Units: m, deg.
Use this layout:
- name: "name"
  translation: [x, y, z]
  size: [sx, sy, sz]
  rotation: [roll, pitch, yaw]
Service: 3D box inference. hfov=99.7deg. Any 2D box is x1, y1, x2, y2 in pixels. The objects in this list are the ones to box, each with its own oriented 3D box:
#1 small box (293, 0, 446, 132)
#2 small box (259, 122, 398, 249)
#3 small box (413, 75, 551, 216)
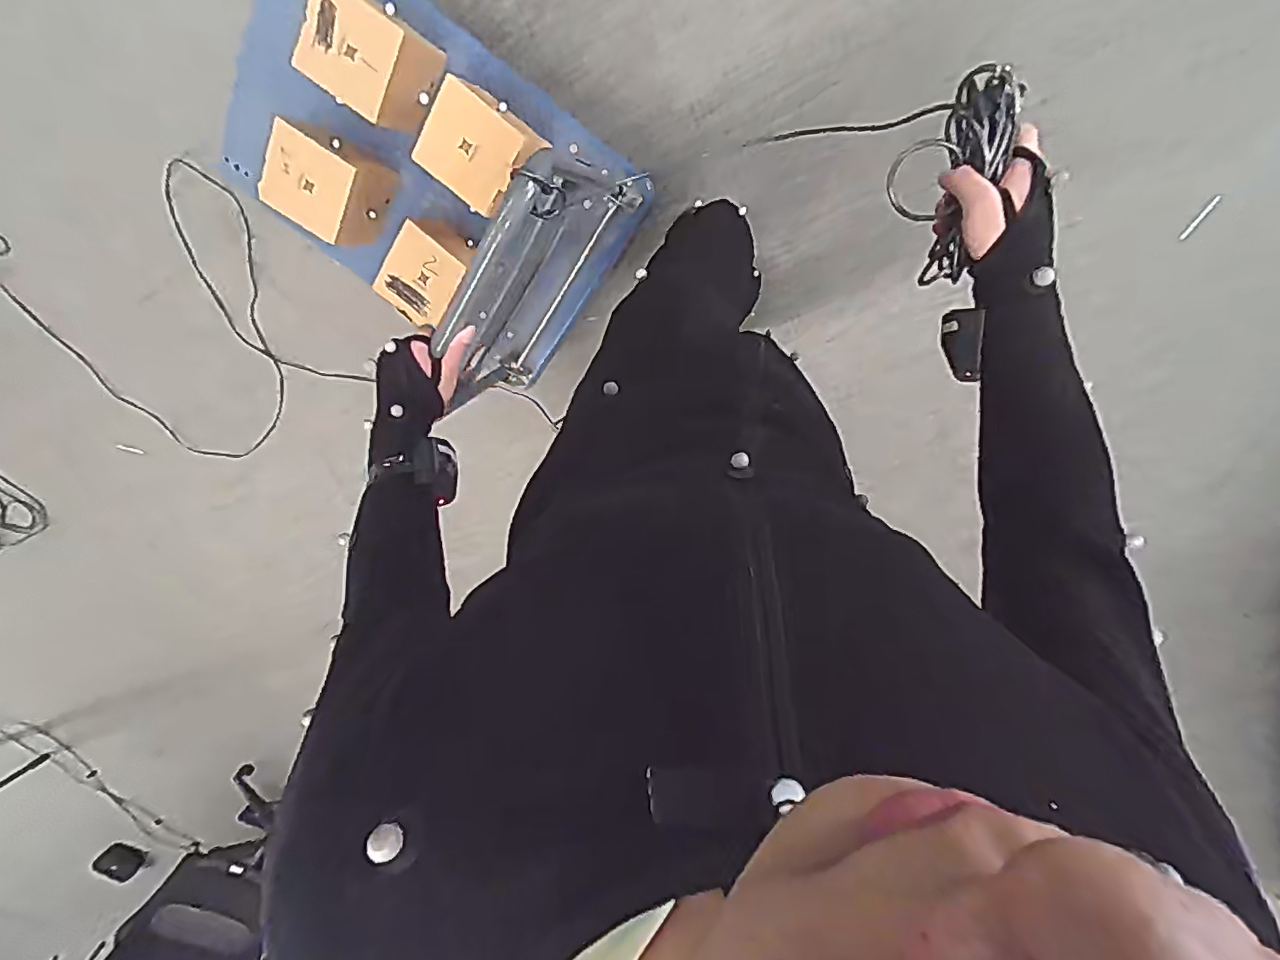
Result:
- name: "small box"
  translation: [-0.511, -0.803, 1.038]
  size: [0.179, 0.176, 0.168]
  rotation: [33, 117, -8]
- name: "small box"
  translation: [-0.652, -0.619, 1.149]
  size: [0.179, 0.176, 0.168]
  rotation: [32, 115, -7]
- name: "small box"
  translation: [-0.307, -0.650, 1.080]
  size: [0.179, 0.176, 0.168]
  rotation: [36, 115, -9]
